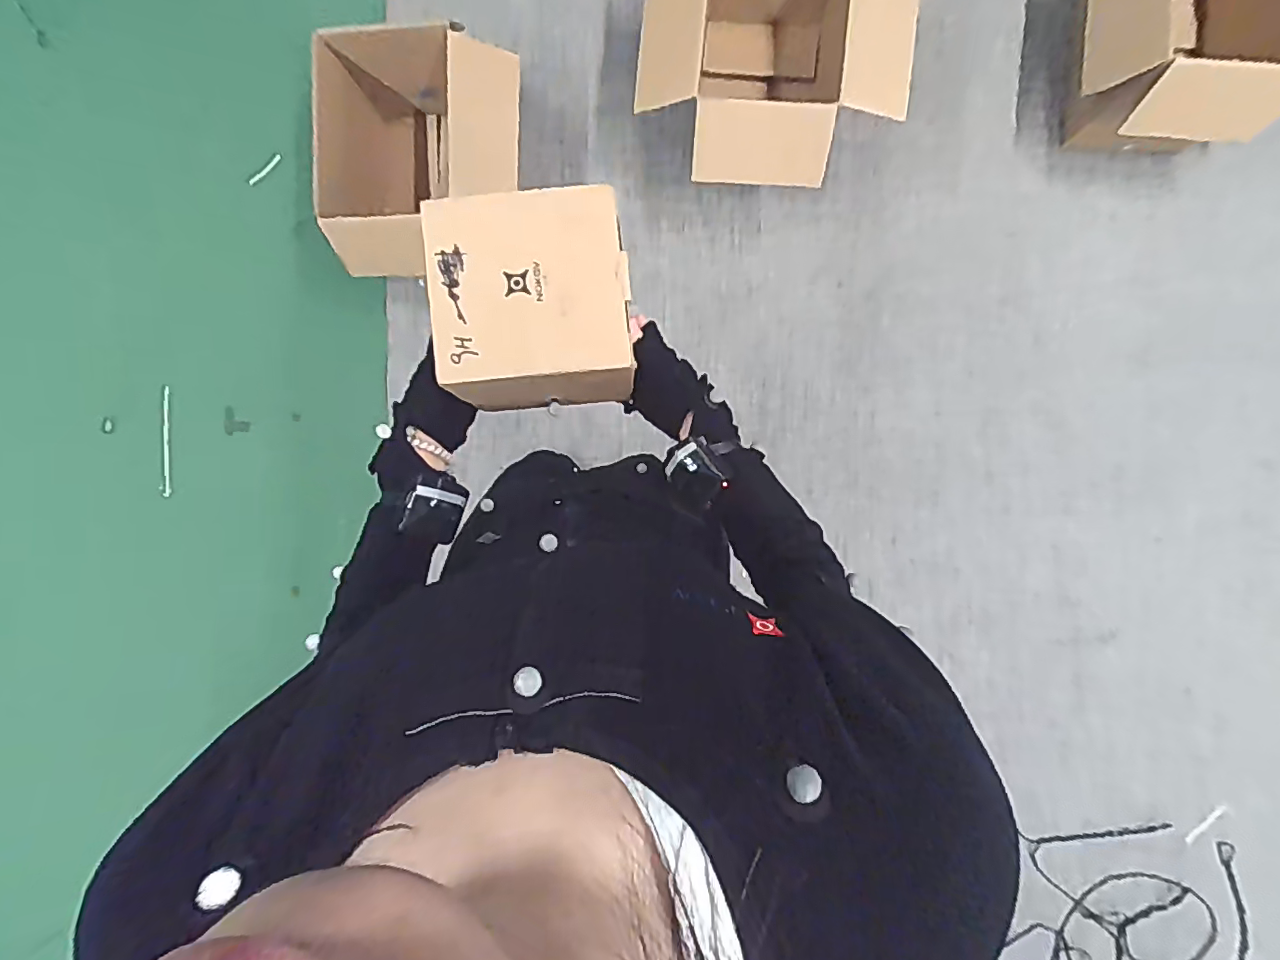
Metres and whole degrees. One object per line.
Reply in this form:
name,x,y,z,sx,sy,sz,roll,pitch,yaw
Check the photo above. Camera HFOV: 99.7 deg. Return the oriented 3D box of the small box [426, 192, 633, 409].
small box,-0.104,-0.172,0.563,0.179,0.176,0.168,-5,88,-3
